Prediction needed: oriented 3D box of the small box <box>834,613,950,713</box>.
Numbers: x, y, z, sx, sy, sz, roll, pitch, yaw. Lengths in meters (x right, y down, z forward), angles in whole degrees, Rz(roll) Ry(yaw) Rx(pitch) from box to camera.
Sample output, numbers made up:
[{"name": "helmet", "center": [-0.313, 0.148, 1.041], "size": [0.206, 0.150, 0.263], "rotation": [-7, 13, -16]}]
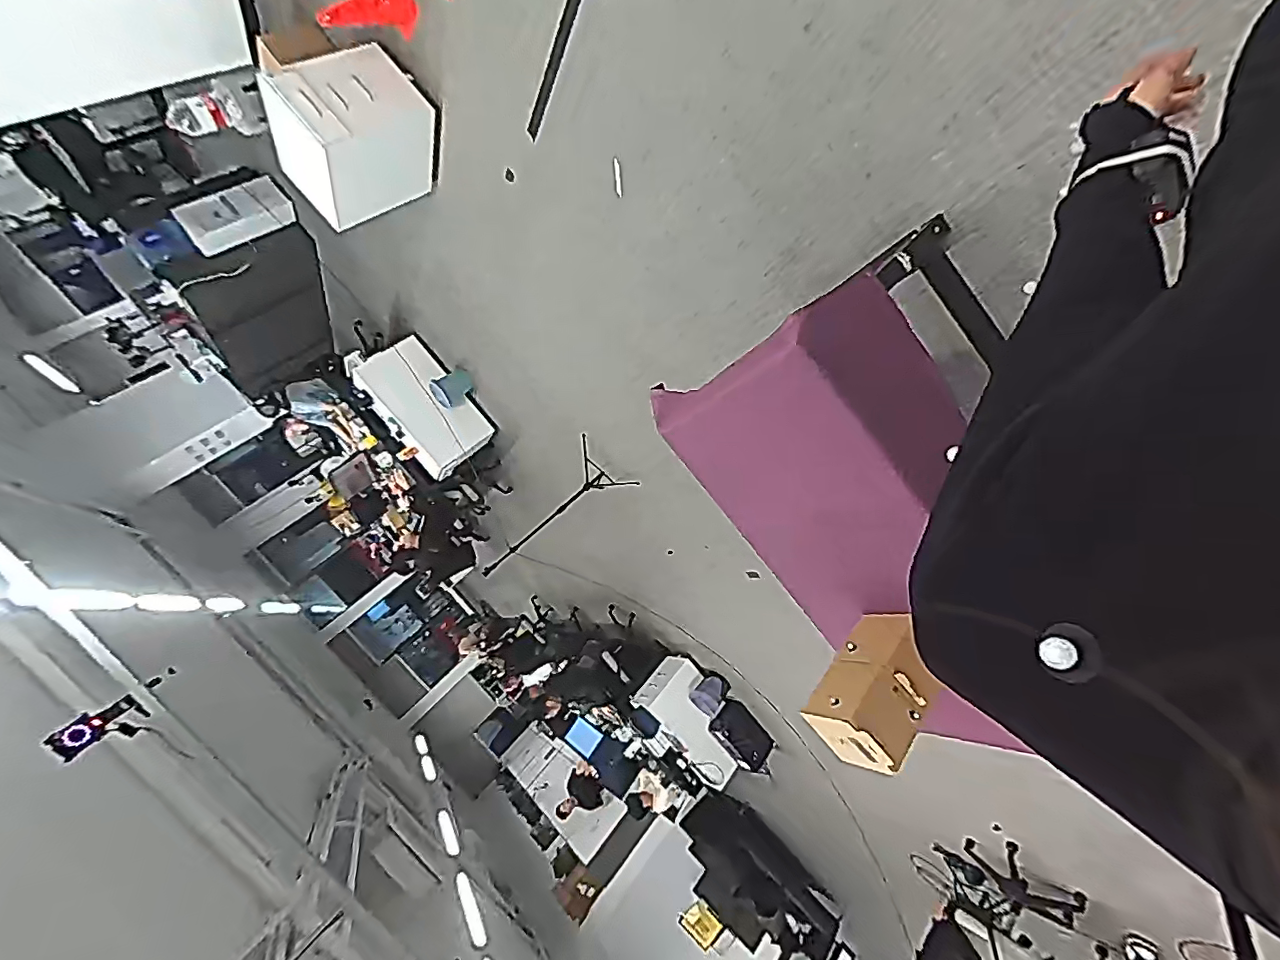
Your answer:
[{"name": "small box", "center": [0.637, 0.452, 1.367], "size": [0.168, 0.176, 0.179], "rotation": [50, 152, -7]}]

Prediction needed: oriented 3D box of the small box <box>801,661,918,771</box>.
[{"name": "small box", "center": [0.531, 0.553, 1.292], "size": [0.168, 0.176, 0.179], "rotation": [49, 154, -3]}]
